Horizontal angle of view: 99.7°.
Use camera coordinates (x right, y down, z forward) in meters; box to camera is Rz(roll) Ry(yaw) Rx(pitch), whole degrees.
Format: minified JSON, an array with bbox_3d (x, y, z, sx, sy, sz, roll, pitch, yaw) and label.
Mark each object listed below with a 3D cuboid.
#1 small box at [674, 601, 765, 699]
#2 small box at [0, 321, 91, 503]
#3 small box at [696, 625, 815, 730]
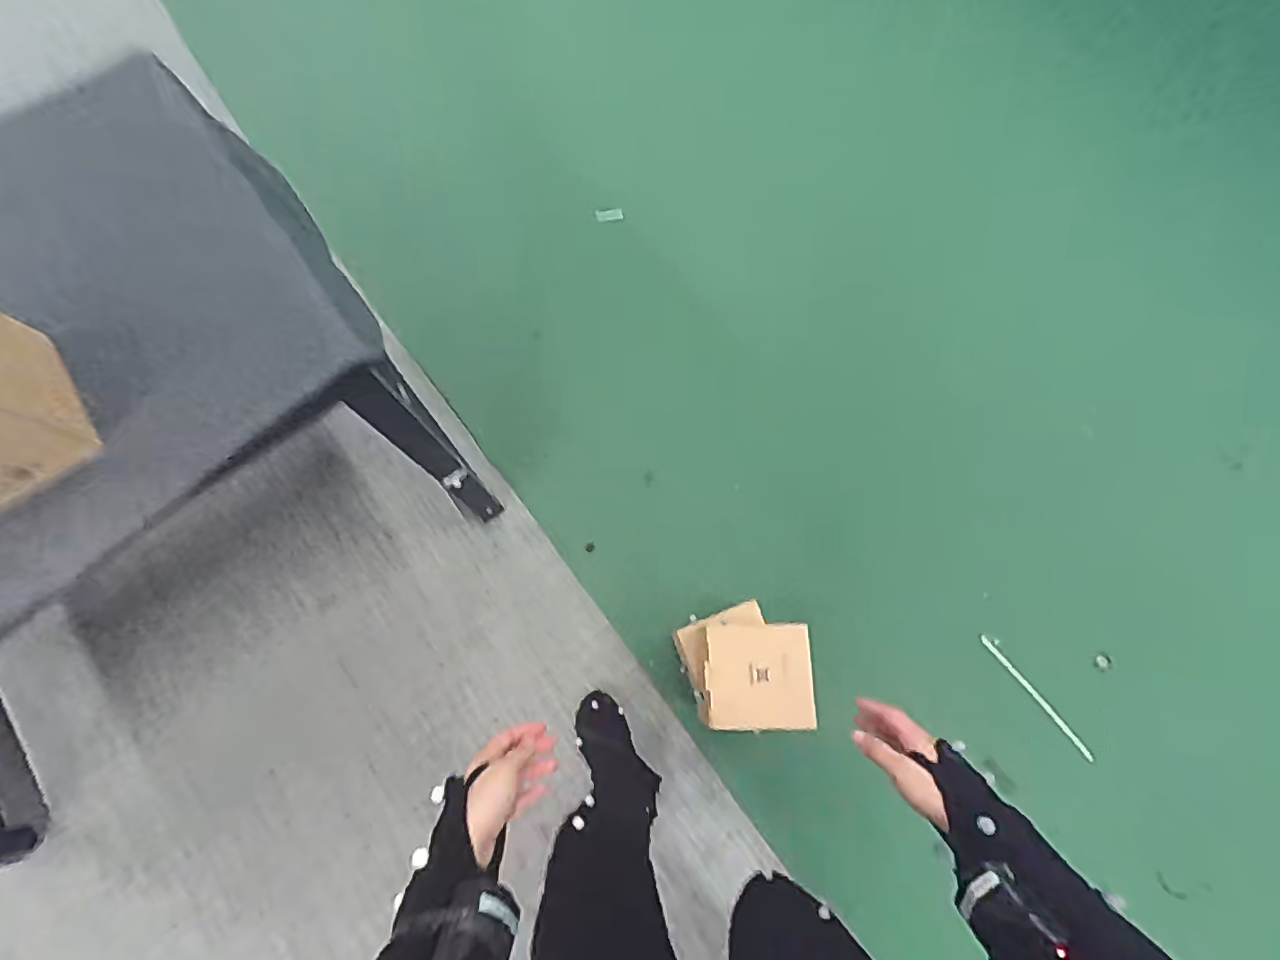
[{"bbox_3d":[0.178,0.366,1.130,0.179,0.176,0.168,-20,75,-7],"label":"small box"},{"bbox_3d":[-0.674,-0.072,0.490,0.168,0.176,0.179,-37,75,-11],"label":"small box"},{"bbox_3d":[0.194,0.346,0.966,0.179,0.176,0.168,0,74,-2],"label":"small box"}]
